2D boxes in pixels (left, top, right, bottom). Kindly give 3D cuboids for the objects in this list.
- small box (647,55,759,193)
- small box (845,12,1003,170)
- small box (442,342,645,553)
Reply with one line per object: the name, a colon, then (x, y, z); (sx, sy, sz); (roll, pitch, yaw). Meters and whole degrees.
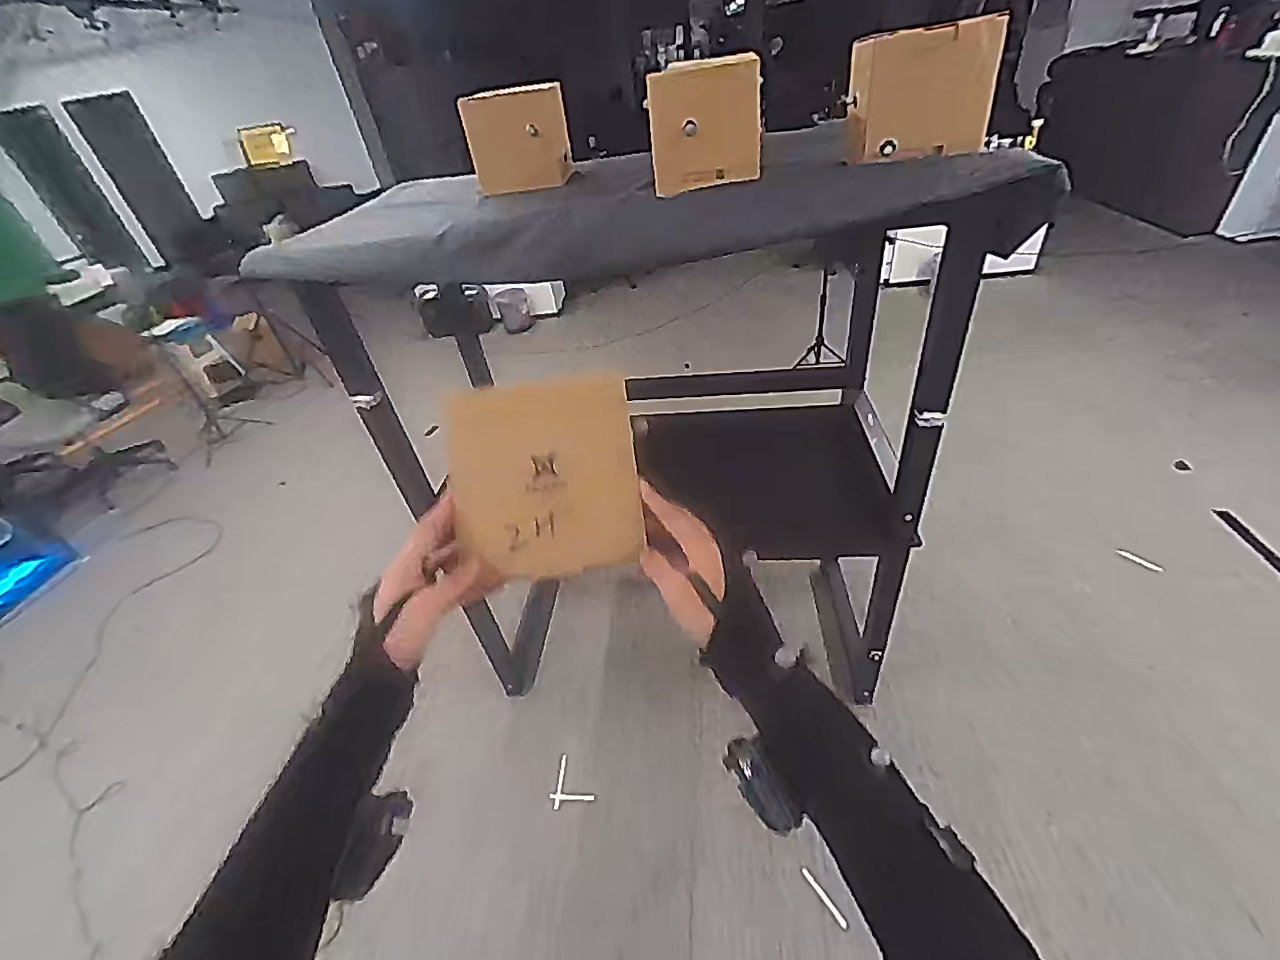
small box: (0.109, -0.586, 0.898); (0.168, 0.176, 0.179); (-2, 36, 9)
small box: (0.418, -0.584, 0.828); (0.168, 0.176, 0.179); (-1, 35, 11)
small box: (-0.089, -0.022, 0.556); (0.168, 0.179, 0.176); (-7, -5, -2)
